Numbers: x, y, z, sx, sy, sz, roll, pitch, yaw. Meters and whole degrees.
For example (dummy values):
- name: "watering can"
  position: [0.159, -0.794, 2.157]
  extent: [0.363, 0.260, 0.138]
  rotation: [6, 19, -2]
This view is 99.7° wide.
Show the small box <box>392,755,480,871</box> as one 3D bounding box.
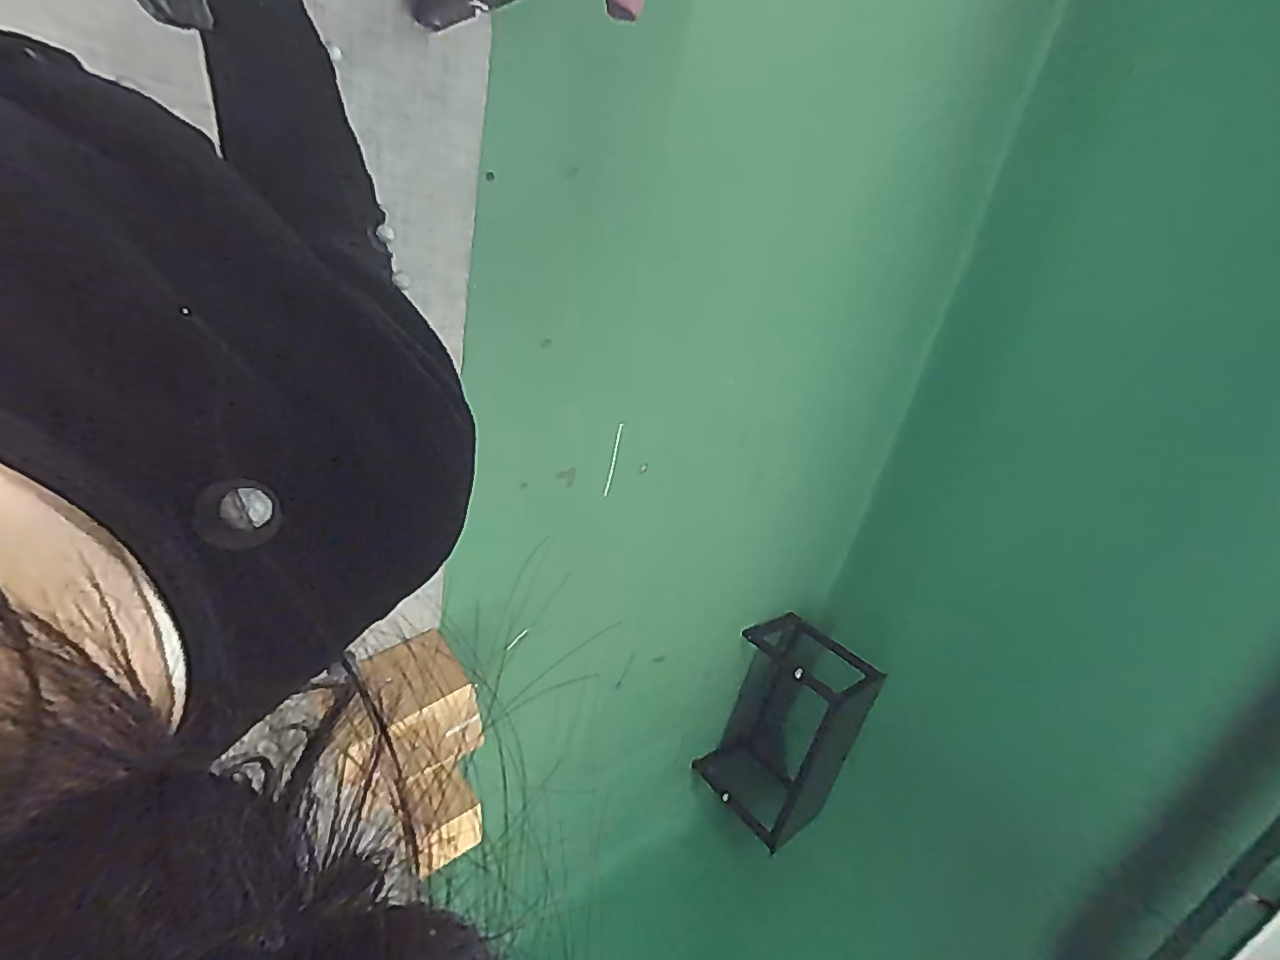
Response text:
- name: "small box"
  position: [-0.554, 0.896, 1.474]
  extent: [0.179, 0.176, 0.168]
  rotation: [-15, 123, -37]

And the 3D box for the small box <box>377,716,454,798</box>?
- name: "small box"
  position: [-0.654, 0.824, 1.579]
  extent: [0.168, 0.176, 0.179]
  rotation: [-16, 124, -37]

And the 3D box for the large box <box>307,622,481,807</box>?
- name: "large box"
  position: [-0.793, 0.744, 1.771]
  extent: [0.408, 0.320, 0.320]
  rotation: [-23, 129, -35]
